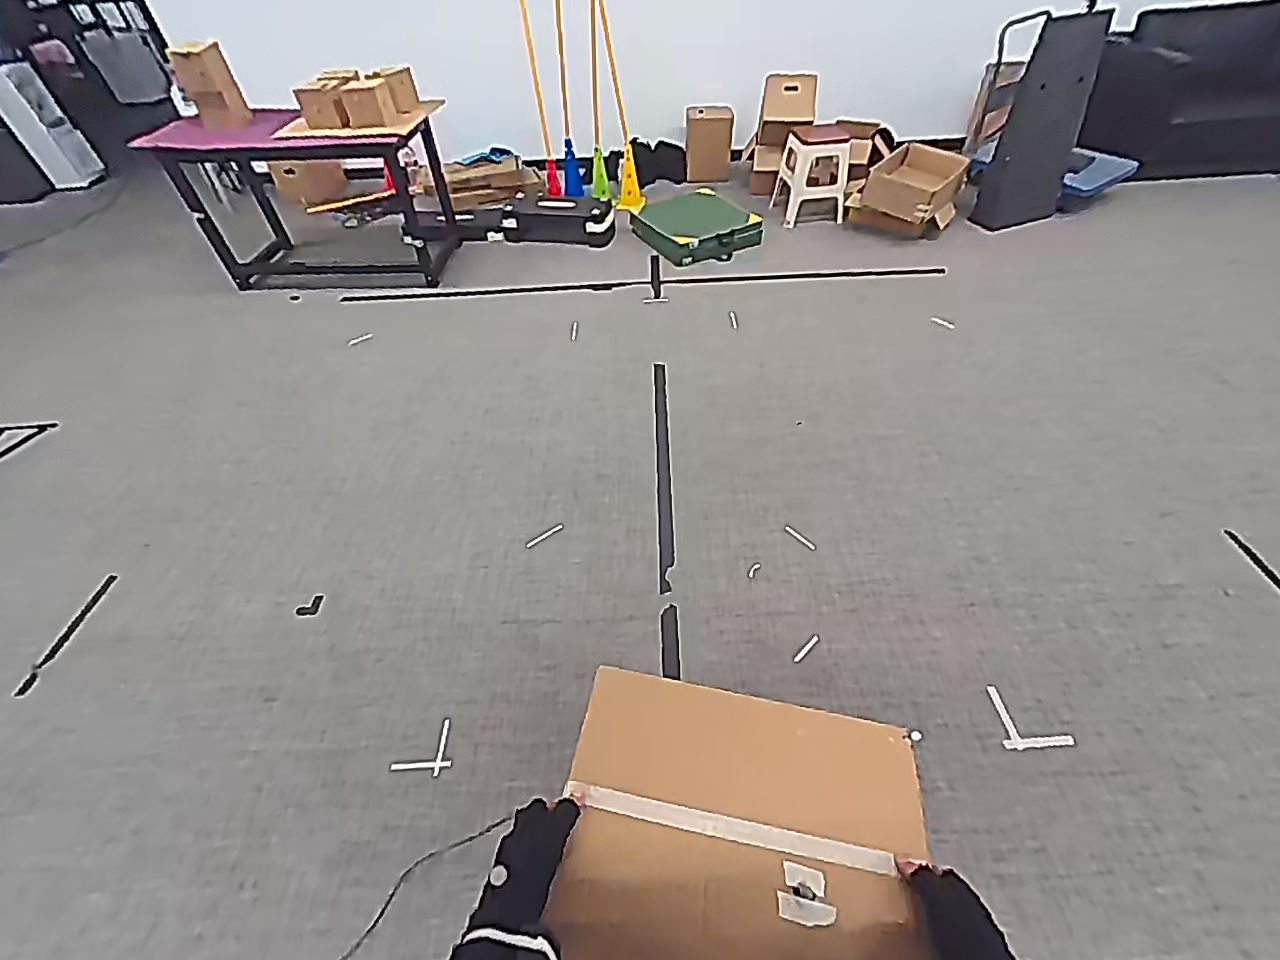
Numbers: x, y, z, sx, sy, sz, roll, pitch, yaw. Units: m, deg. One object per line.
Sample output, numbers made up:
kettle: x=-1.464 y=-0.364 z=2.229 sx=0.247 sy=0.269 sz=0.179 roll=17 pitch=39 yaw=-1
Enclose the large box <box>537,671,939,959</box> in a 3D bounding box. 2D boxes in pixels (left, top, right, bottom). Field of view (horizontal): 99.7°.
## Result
large box: x=0.111 y=0.499 z=0.717 sx=0.408 sy=0.320 sz=0.320 roll=9 pitch=45 yaw=6
